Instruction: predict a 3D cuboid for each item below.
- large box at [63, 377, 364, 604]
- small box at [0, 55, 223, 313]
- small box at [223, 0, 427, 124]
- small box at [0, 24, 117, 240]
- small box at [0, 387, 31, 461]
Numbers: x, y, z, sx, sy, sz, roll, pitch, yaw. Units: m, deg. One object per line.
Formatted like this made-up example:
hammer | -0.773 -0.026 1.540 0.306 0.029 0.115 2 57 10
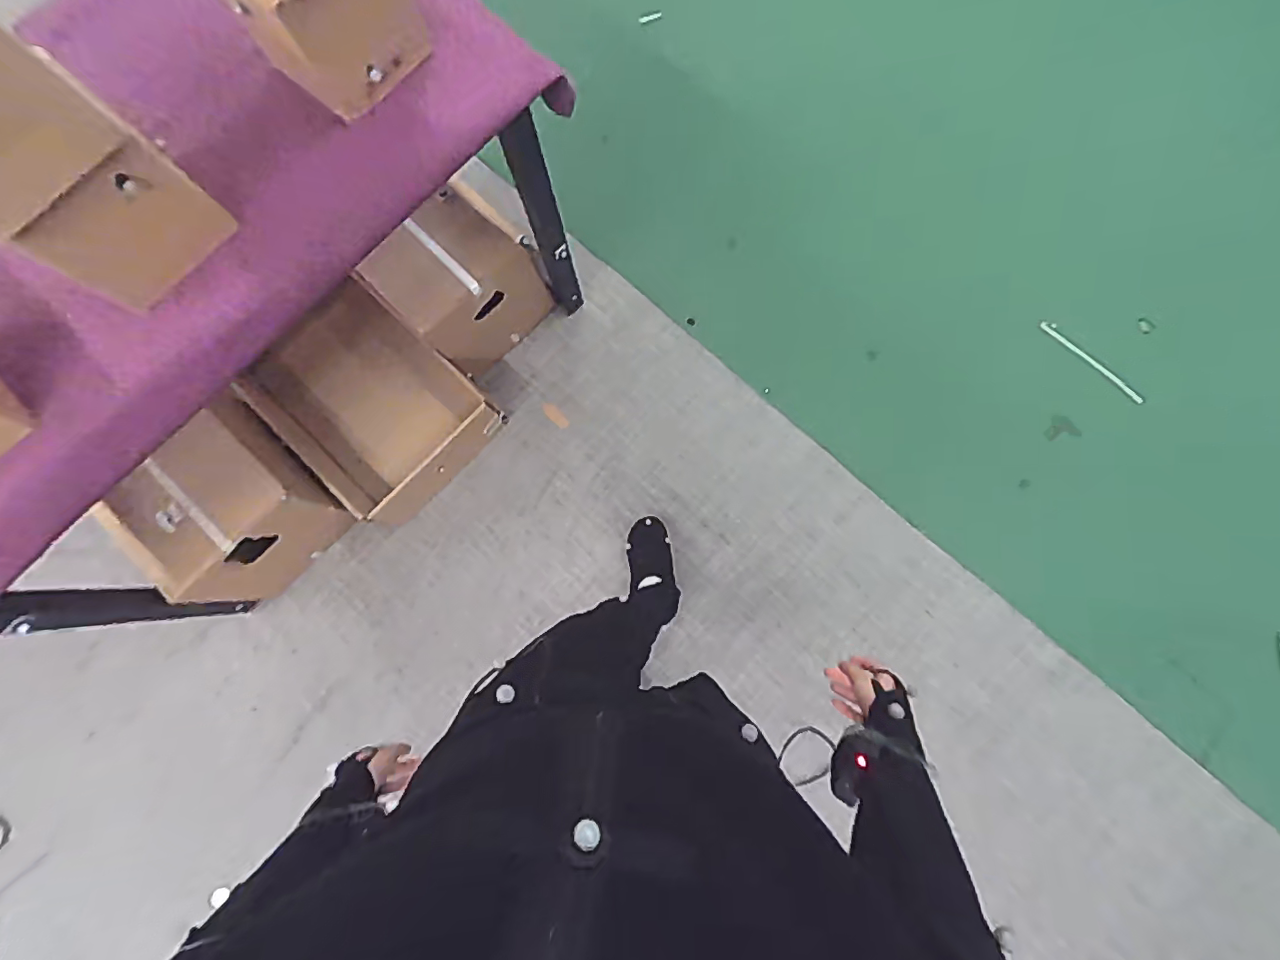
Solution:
large box | -0.963 0.039 1.272 0.408 0.320 0.320 42 83 7
small box | -0.663 -0.345 0.658 0.168 0.176 0.179 41 84 10
small box | -0.420 -0.616 0.701 0.179 0.176 0.168 40 85 10
small box | -0.660 -0.361 0.494 0.168 0.176 0.179 40 84 9
small box | -0.893 -0.081 0.618 0.179 0.176 0.168 43 83 9
